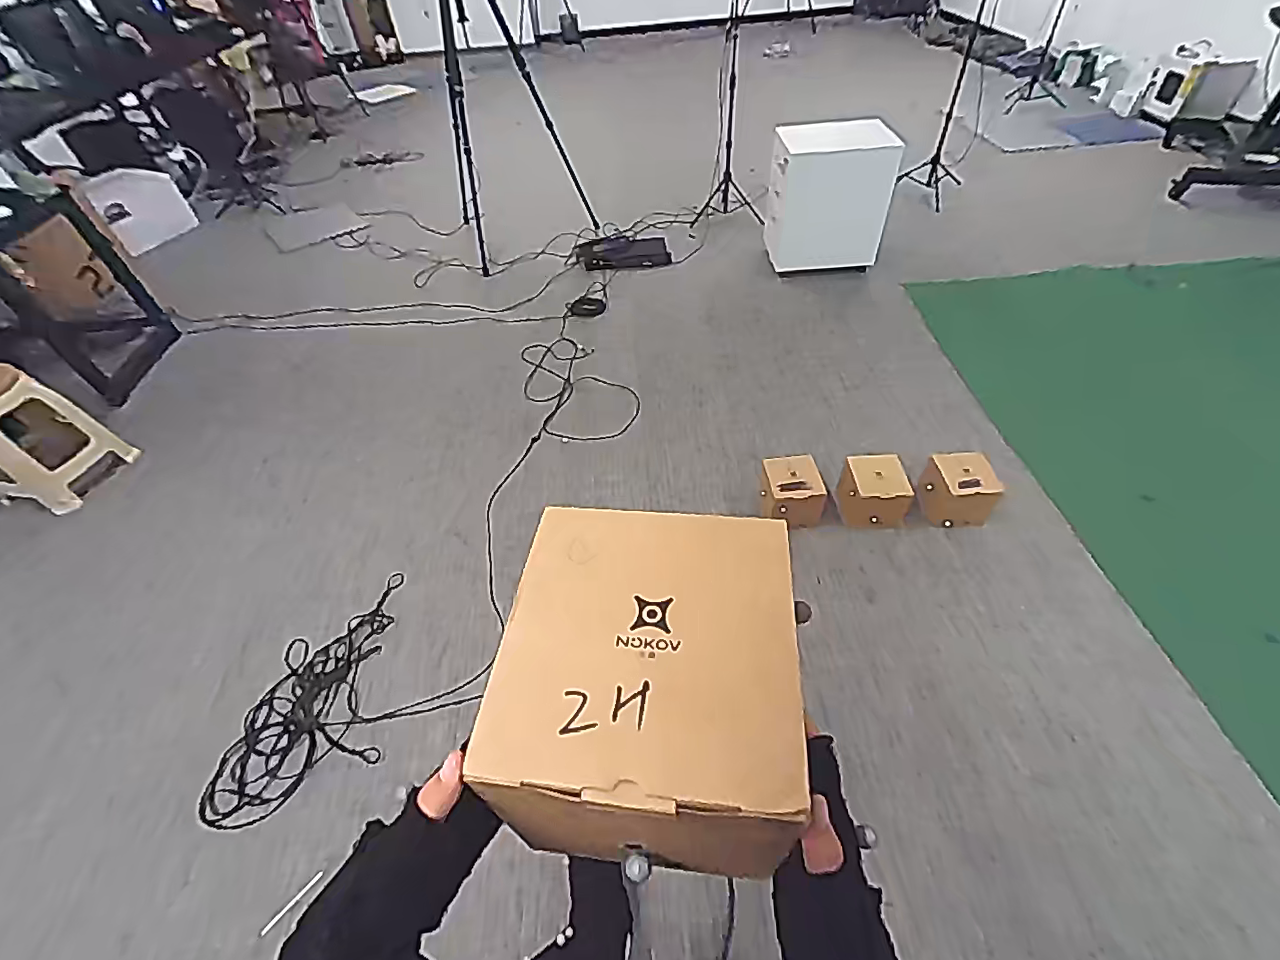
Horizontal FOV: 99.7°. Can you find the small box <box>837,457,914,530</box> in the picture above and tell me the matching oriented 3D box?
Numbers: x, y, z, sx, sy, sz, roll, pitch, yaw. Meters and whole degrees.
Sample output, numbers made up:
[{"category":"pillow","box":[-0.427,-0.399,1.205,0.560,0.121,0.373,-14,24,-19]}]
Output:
[{"category":"small box","box":[0.761,0.045,1.771,0.168,0.176,0.179,-3,49,1]}]

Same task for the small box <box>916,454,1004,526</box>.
[{"category":"small box","box":[1.030,0.040,1.756,0.168,0.176,0.179,-3,48,1]}]
